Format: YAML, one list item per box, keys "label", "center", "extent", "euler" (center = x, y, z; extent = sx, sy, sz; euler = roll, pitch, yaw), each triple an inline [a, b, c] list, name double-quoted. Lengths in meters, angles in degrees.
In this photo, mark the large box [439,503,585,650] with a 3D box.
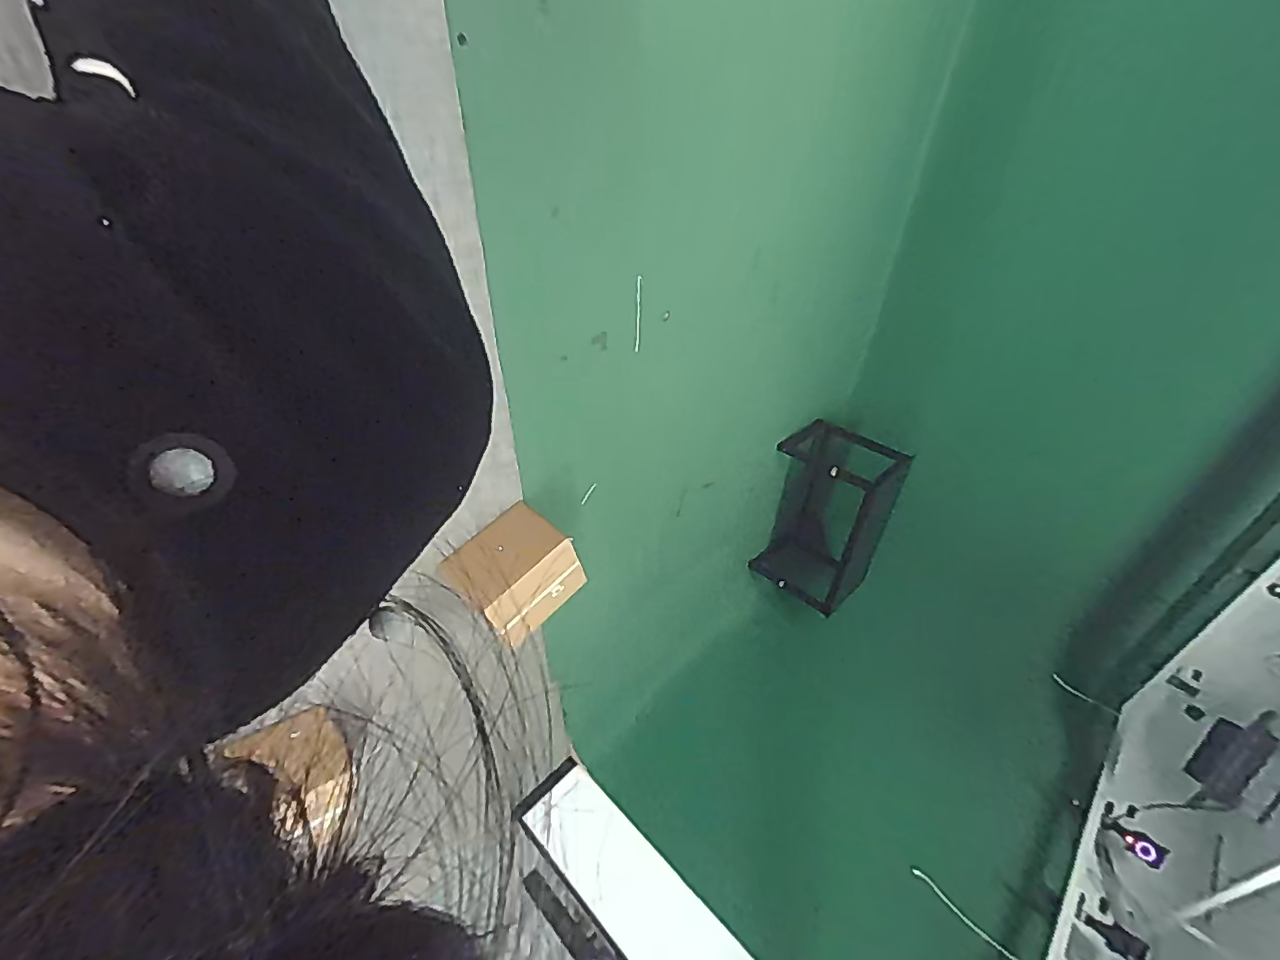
- label: "large box"
  center: [-0.491, 0.370, 2.121]
  extent: [0.408, 0.320, 0.320]
  euler: [-42, 144, -25]
